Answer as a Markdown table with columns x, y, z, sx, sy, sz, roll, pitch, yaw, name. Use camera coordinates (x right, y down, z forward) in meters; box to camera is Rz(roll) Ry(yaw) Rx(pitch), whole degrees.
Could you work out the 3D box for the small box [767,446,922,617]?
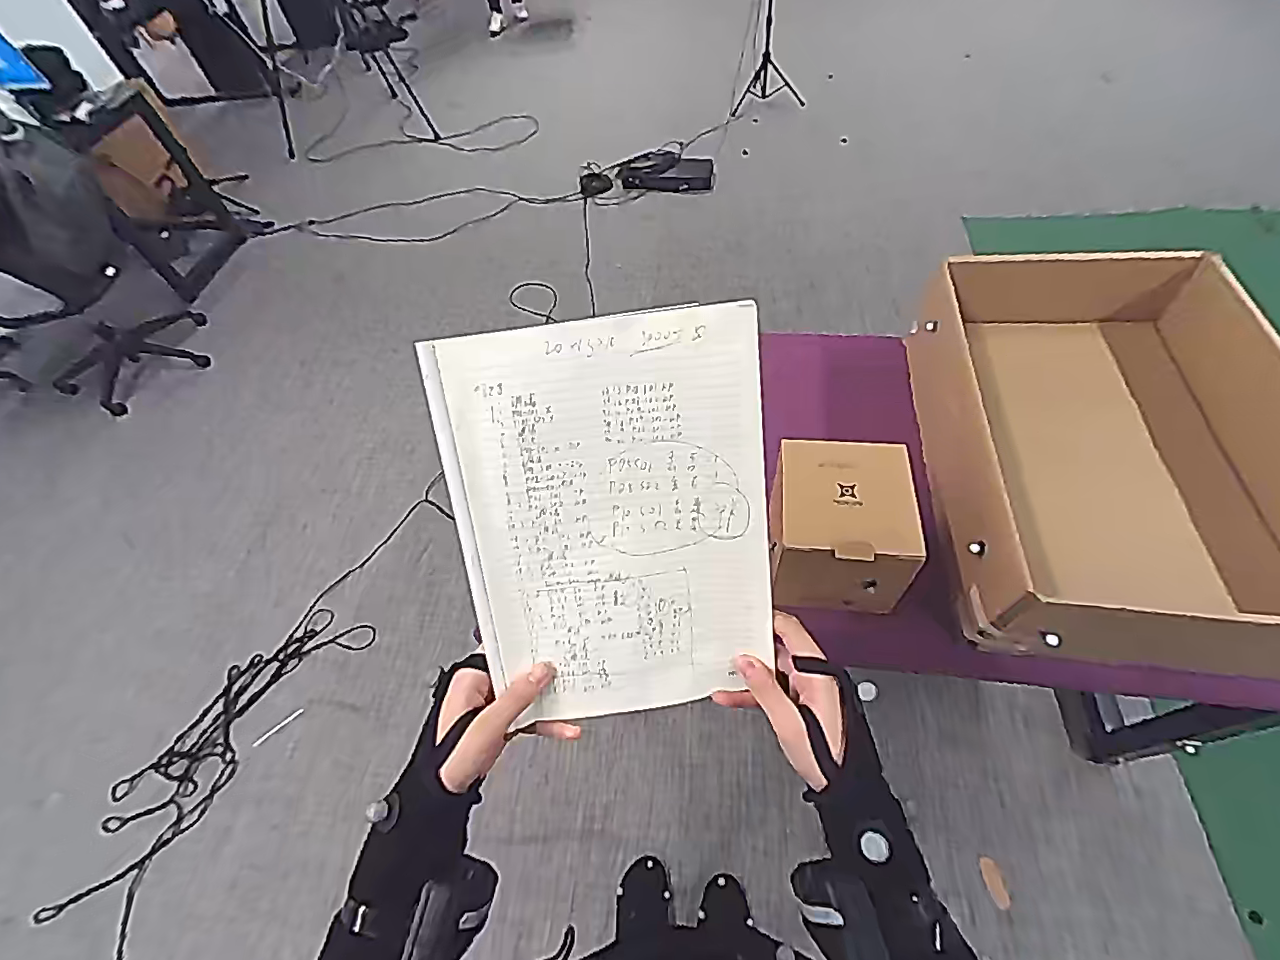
| x | y | z | sx | sy | sz | roll | pitch | yaw | name |
| --- | --- | --- | --- | --- | --- | --- | --- | --- | --- |
| 0.270 | 0.075 | 0.751 | 0.168 | 0.176 | 0.179 | 4 | 53 | 9 | small box |
